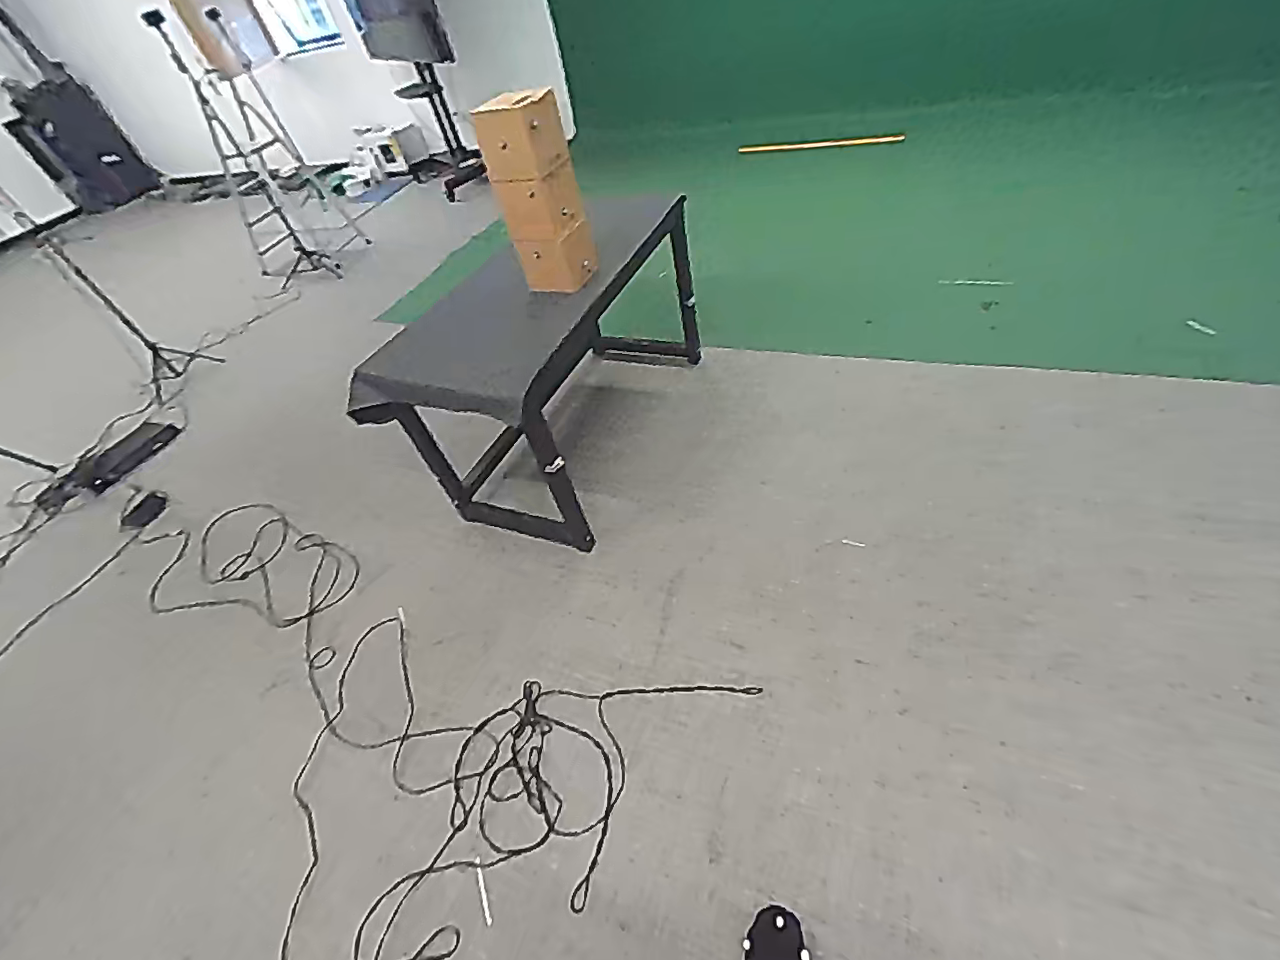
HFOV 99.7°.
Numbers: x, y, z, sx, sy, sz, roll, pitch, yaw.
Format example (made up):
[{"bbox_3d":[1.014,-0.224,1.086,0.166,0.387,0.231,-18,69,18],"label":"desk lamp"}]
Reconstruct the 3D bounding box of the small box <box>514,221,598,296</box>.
[{"bbox_3d":[-0.259,-0.696,1.701,0.179,0.176,0.168,11,51,24],"label":"small box"}]

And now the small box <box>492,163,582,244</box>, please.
[{"bbox_3d":[-0.297,-0.809,1.592,0.179,0.176,0.168,12,51,24],"label":"small box"}]
